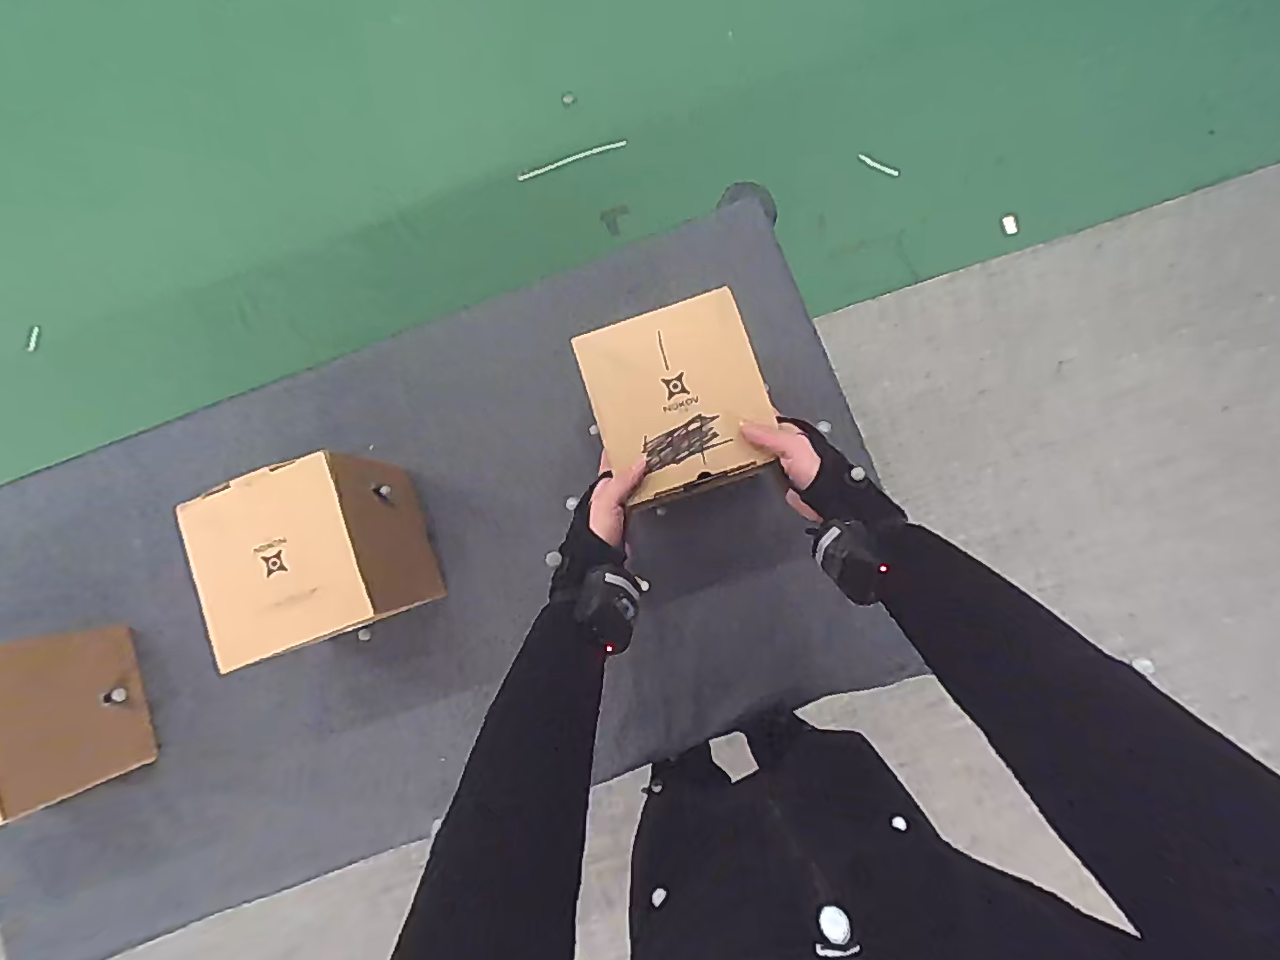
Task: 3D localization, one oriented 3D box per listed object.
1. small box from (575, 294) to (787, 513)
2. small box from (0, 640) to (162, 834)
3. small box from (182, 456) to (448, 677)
[{"bbox_3d":[0.043,-0.069,0.596,0.168,0.176,0.179,-18,84,2],"label":"small box"},{"bbox_3d":[-0.701,0.292,0.607,0.168,0.176,0.179,-21,83,1],"label":"small box"},{"bbox_3d":[-0.346,0.090,0.608,0.168,0.176,0.179,-22,85,2],"label":"small box"}]
